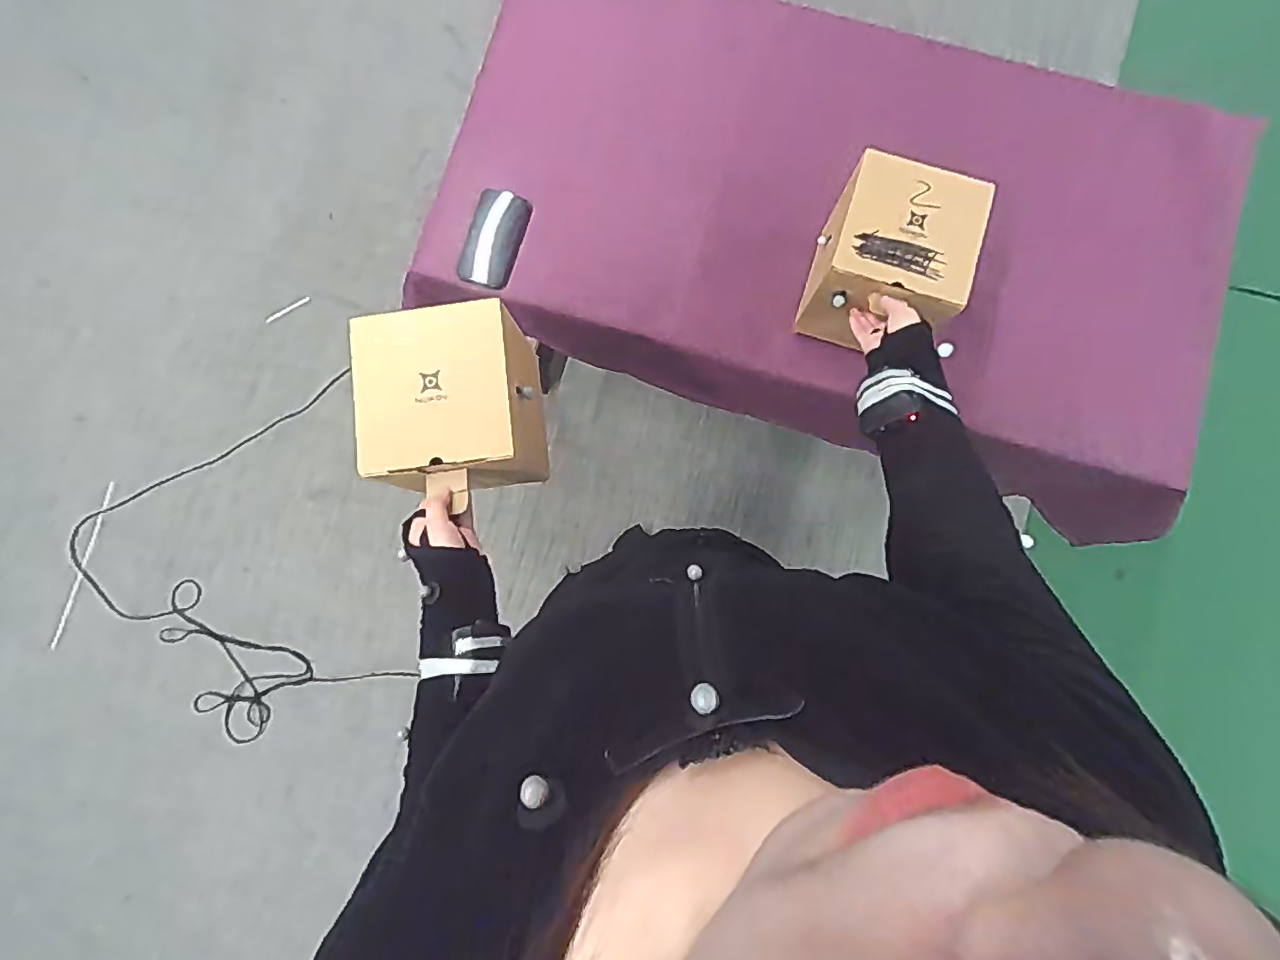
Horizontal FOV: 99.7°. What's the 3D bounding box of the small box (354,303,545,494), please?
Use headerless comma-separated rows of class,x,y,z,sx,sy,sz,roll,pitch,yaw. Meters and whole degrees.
small box,-0.217,-0.086,0.651,0.168,0.176,0.179,-8,83,2
